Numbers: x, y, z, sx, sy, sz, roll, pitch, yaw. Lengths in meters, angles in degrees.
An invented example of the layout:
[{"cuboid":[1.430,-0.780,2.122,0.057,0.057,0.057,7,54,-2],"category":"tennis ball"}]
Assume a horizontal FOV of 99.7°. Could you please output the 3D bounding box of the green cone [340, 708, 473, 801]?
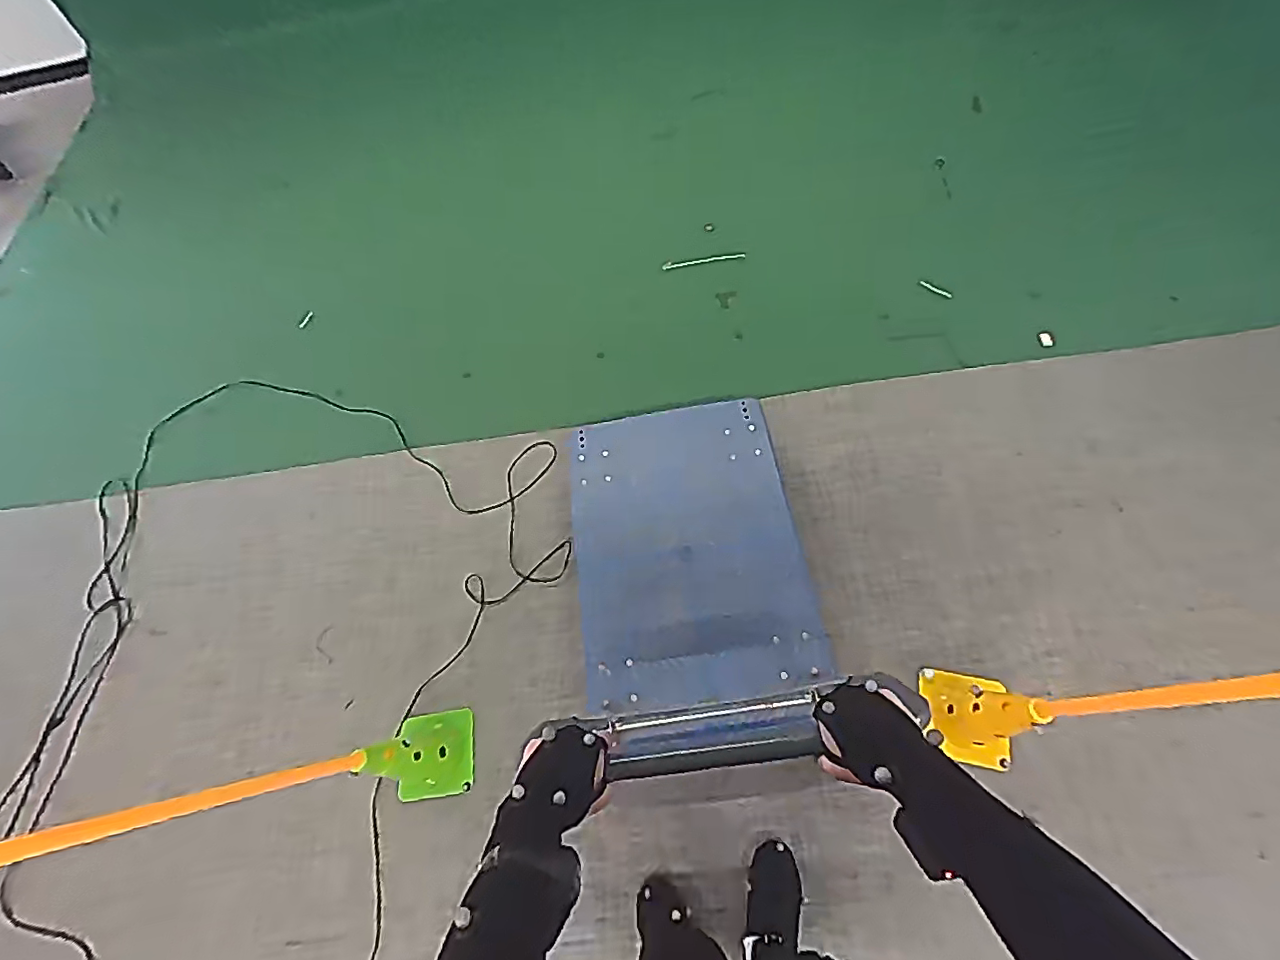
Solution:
[{"cuboid":[-0.562,0.645,1.263,0.202,0.368,0.200,-12,64,4],"category":"green cone"}]
